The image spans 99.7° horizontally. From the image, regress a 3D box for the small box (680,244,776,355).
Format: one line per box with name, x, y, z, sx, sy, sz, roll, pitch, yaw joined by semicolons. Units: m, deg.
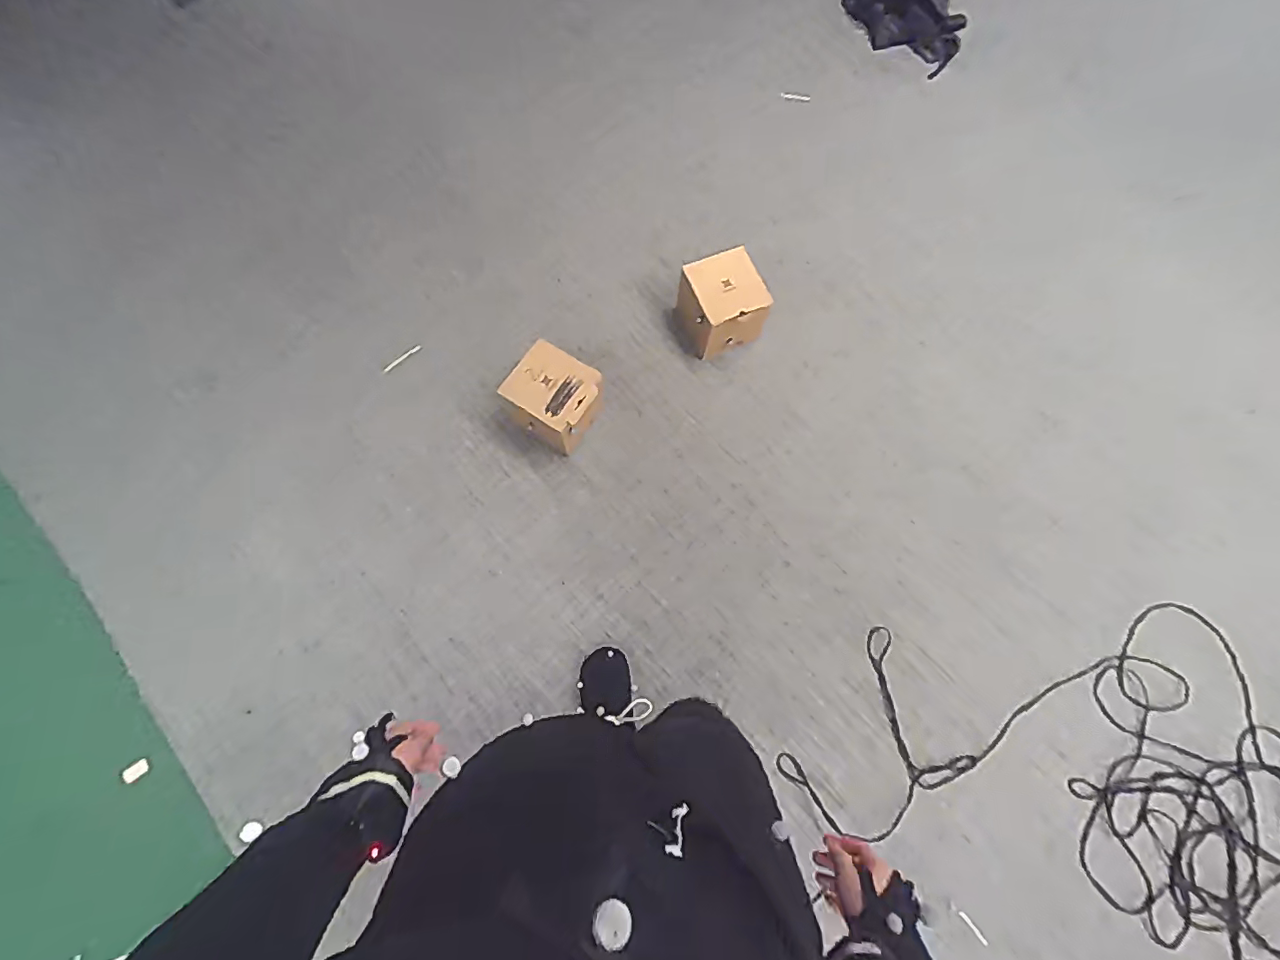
small box;0.211;-0.445;1.353;0.168;0.176;0.179;-21;76;-8
